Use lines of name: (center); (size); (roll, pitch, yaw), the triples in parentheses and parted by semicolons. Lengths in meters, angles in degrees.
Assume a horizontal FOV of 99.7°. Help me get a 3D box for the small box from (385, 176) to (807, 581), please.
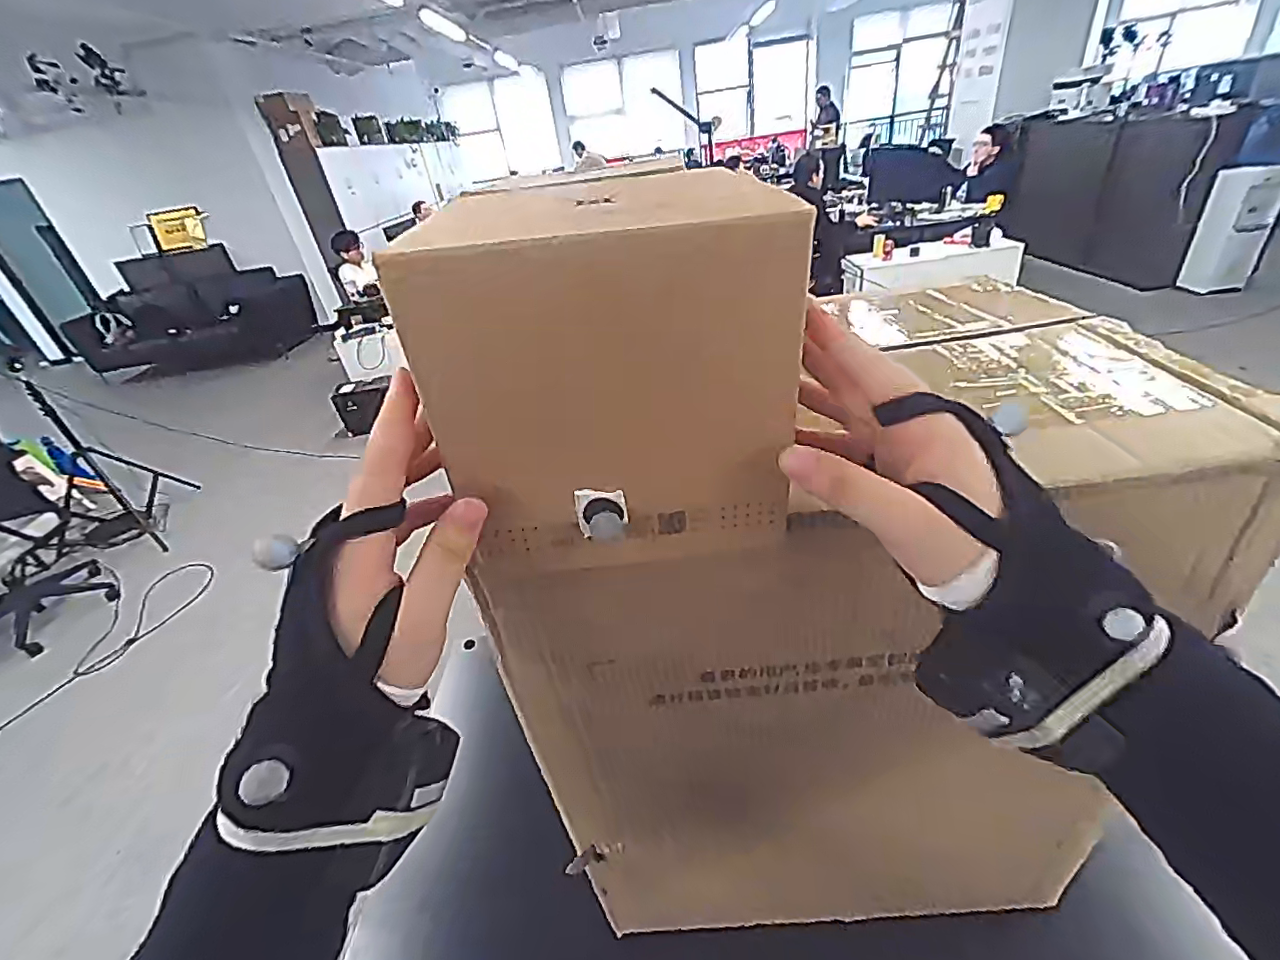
small box: (-0.016, -0.067, 0.318); (0.168, 0.176, 0.179); (-8, 35, -1)

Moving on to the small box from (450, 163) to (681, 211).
small box: (-0.040, -0.171, 0.479); (0.168, 0.176, 0.179); (-5, 32, 6)
